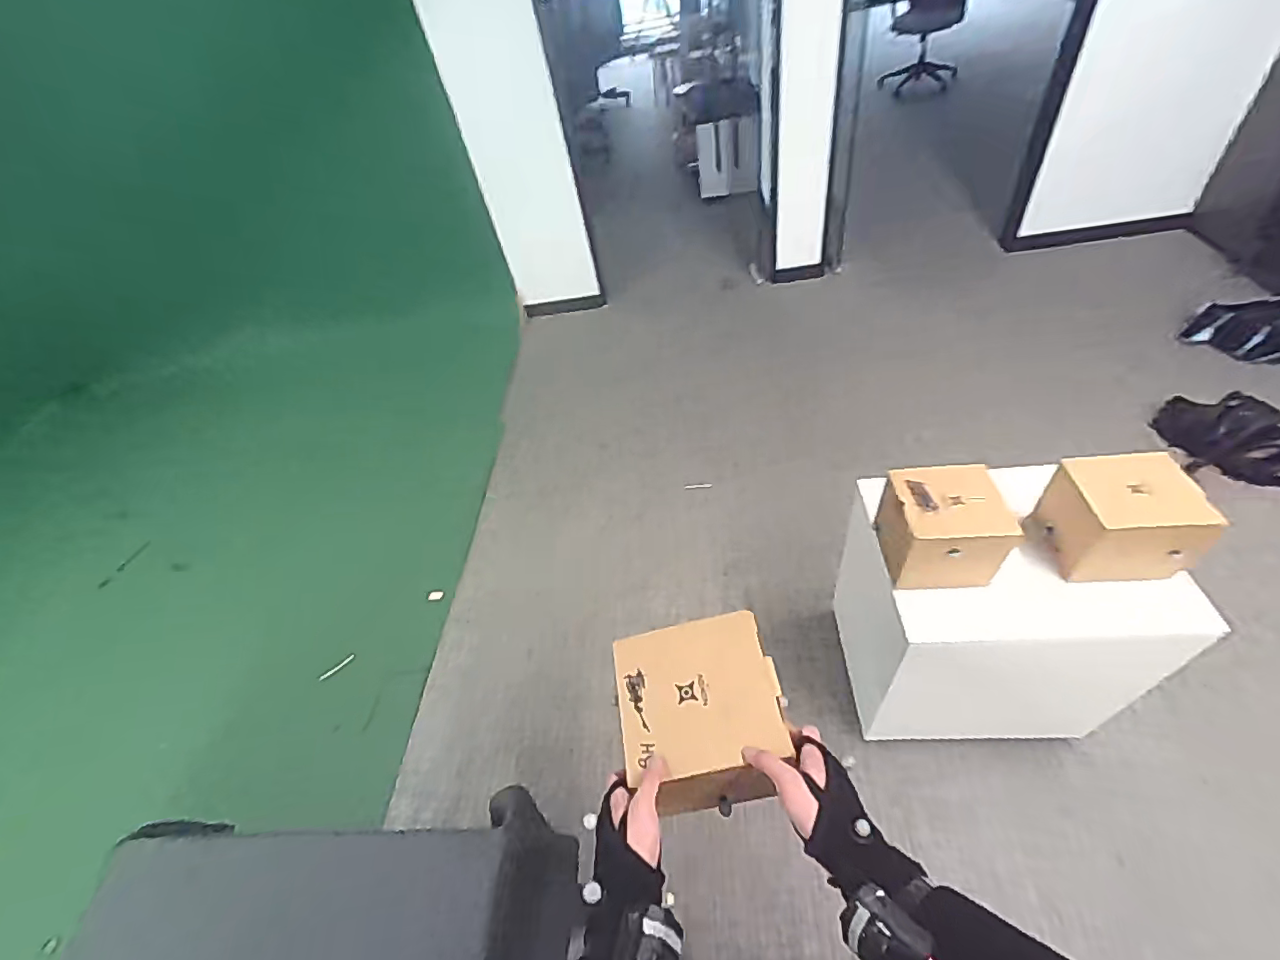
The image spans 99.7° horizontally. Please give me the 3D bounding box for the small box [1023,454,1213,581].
[{"bbox_3d":[0.850,0.072,0.987,0.179,0.176,0.168,-3,48,9],"label":"small box"}]

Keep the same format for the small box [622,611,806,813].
[{"bbox_3d":[0.084,0.283,0.652,0.179,0.176,0.168,-12,48,3],"label":"small box"}]

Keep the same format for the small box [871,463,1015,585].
[{"bbox_3d":[0.553,0.087,1.021,0.179,0.176,0.168,-2,49,5],"label":"small box"}]
